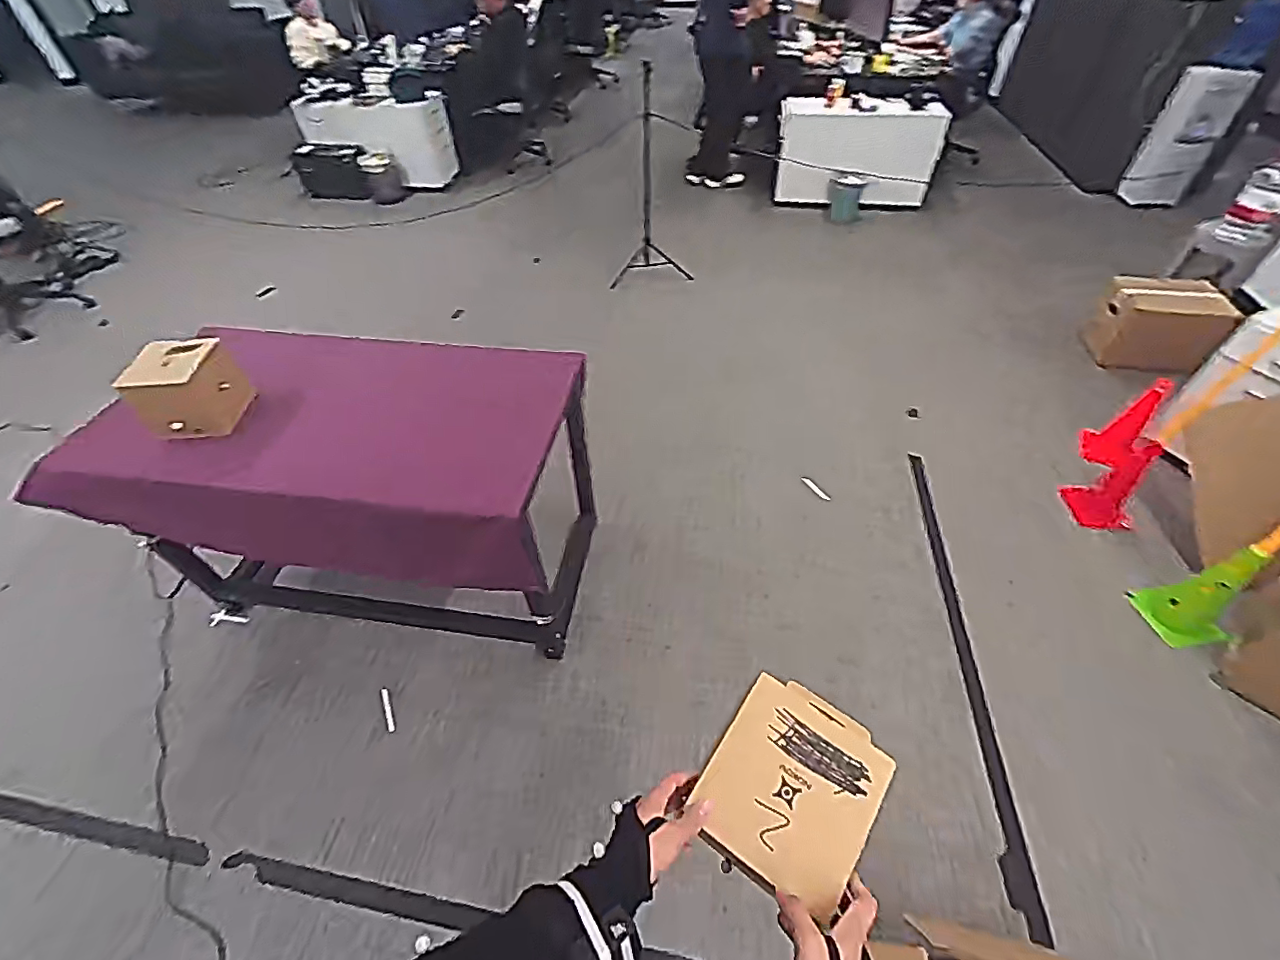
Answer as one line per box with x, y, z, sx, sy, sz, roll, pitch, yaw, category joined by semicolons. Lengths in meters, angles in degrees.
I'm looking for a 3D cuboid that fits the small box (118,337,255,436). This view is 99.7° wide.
-1.094;-0.229;1.326;0.168;0.176;0.179;-4;49;-1;small box
